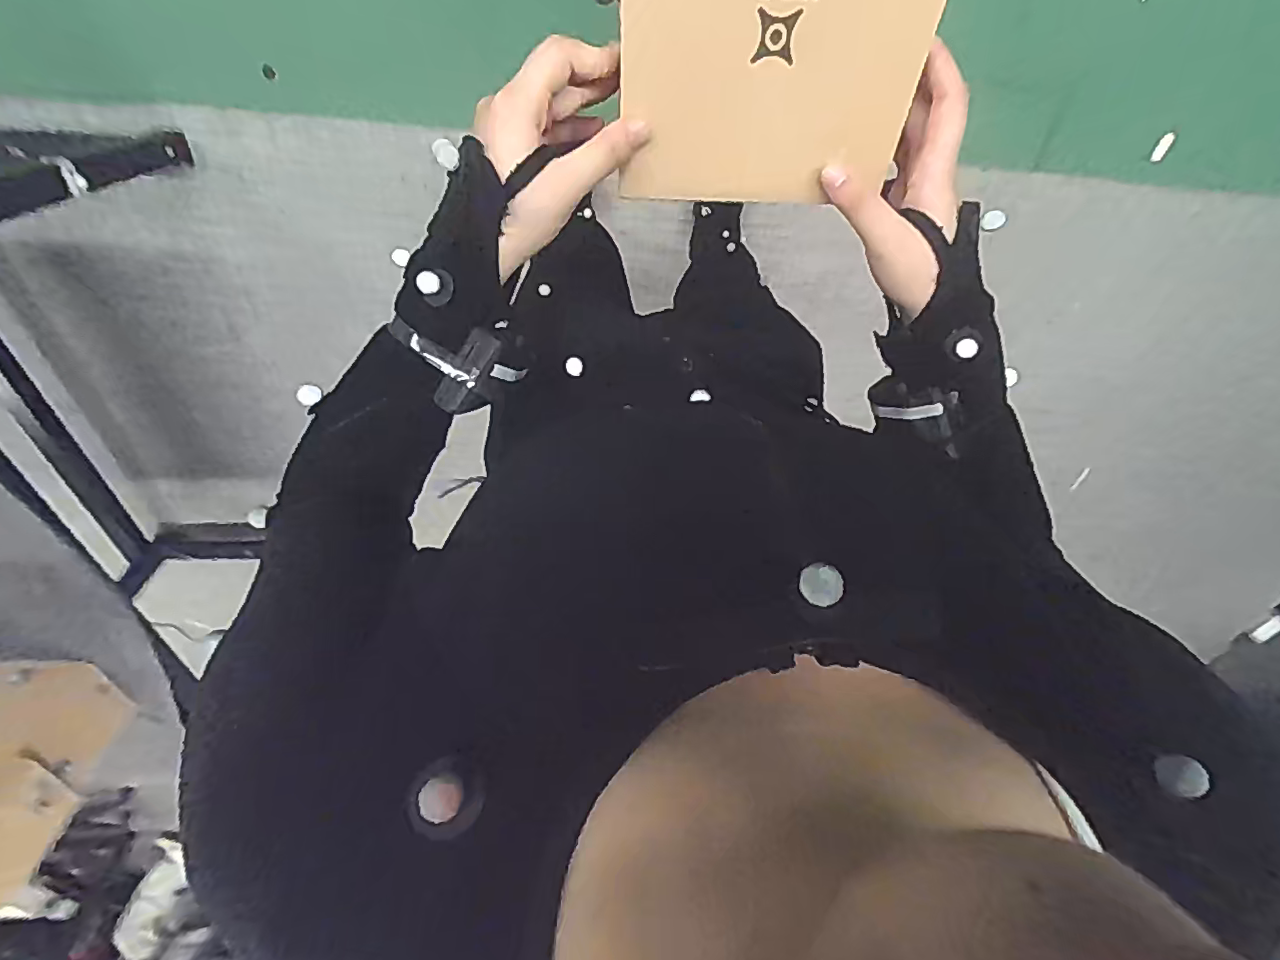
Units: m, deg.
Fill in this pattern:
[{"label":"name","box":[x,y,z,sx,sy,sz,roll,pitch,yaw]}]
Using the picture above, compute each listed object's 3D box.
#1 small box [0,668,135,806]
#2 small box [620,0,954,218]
[{"label":"small box","box":[-1.066,0.446,0.948,0.179,0.176,0.168,2,129,-4]},{"label":"small box","box":[0.073,-0.285,0.332,0.168,0.176,0.179,0,138,-1]}]
